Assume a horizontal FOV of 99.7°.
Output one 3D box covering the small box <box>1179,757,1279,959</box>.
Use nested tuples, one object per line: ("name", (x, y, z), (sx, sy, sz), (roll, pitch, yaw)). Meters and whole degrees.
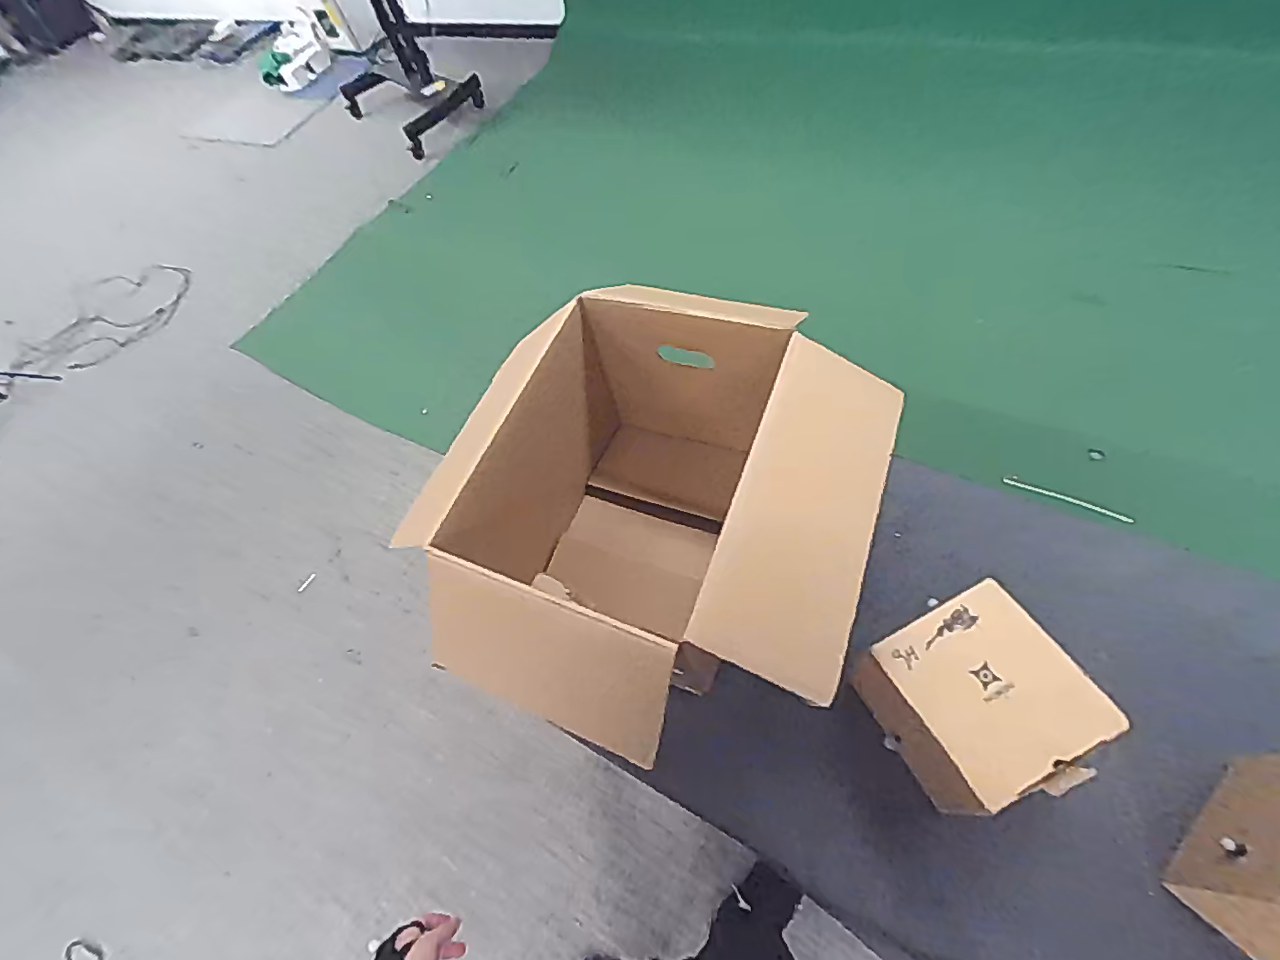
("small box", (0.653, 0.375, 0.484), (0.179, 0.176, 0.168), (-41, 60, -14))

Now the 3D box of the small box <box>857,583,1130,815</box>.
("small box", (0.379, 0.253, 0.623), (0.168, 0.176, 0.179), (-28, 58, -4))
